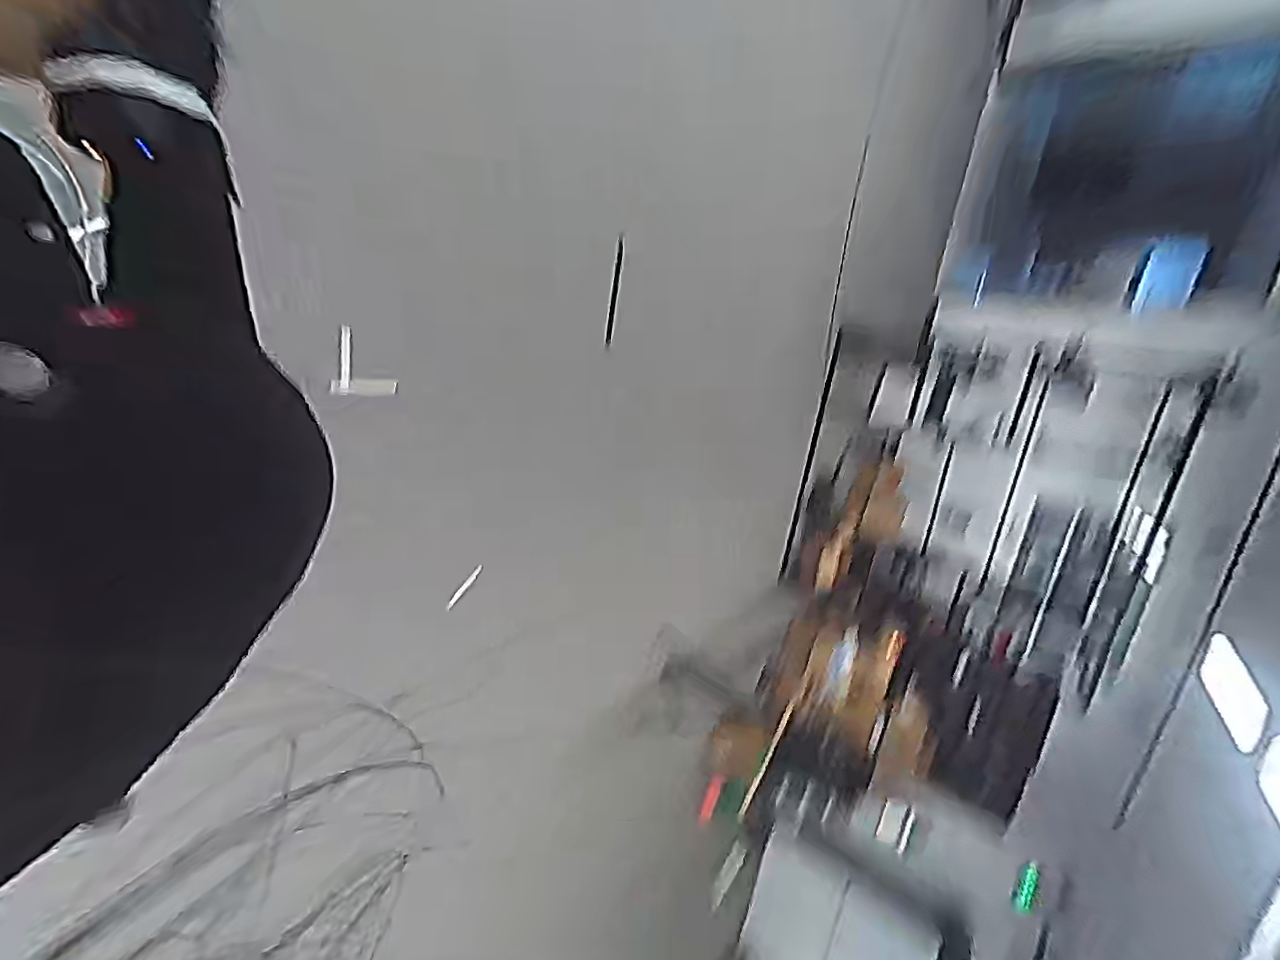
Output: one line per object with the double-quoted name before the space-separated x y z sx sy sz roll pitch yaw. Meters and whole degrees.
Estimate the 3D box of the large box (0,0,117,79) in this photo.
"large box" -0.585 -0.451 0.257 0.408 0.320 0.320 -17 128 -53
